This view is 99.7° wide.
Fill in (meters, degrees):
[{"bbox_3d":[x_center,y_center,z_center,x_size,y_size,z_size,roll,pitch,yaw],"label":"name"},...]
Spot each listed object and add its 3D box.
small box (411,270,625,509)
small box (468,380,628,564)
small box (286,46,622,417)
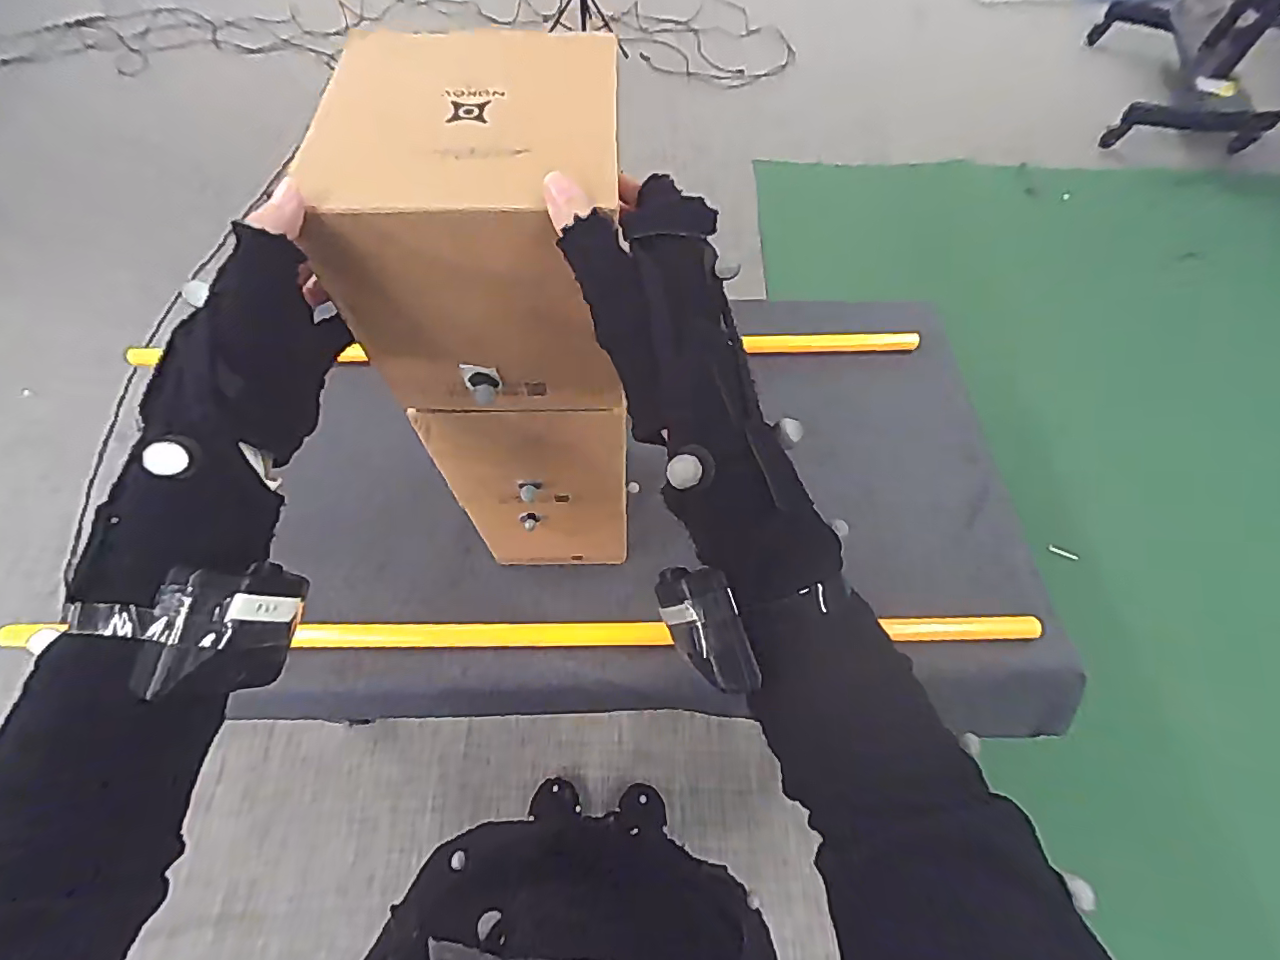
[{"bbox_3d":[-0.099,-0.086,0.527,0.168,0.176,0.179,-1,62,-2],"label":"small box"},{"bbox_3d":[-0.099,-0.007,0.672,0.168,0.176,0.179,-1,61,-1],"label":"small box"},{"bbox_3d":[-0.098,-0.164,0.379,0.168,0.176,0.179,-1,62,-1],"label":"small box"}]
